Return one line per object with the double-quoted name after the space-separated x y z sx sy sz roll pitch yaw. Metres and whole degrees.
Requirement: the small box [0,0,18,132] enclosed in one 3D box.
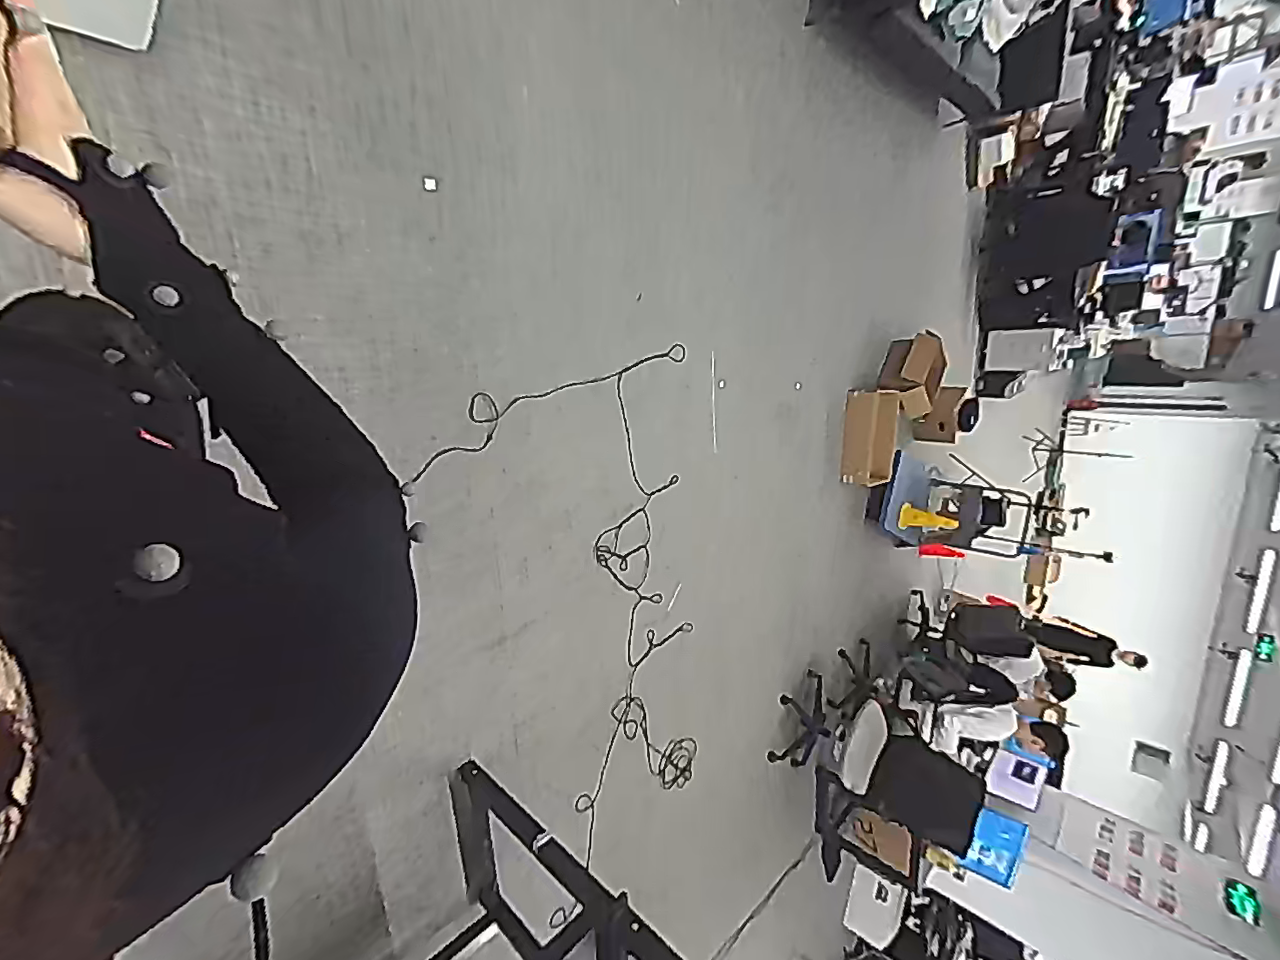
-0.379 -0.262 0.205 0.179 0.176 0.168 -2 104 -46 "small box"
